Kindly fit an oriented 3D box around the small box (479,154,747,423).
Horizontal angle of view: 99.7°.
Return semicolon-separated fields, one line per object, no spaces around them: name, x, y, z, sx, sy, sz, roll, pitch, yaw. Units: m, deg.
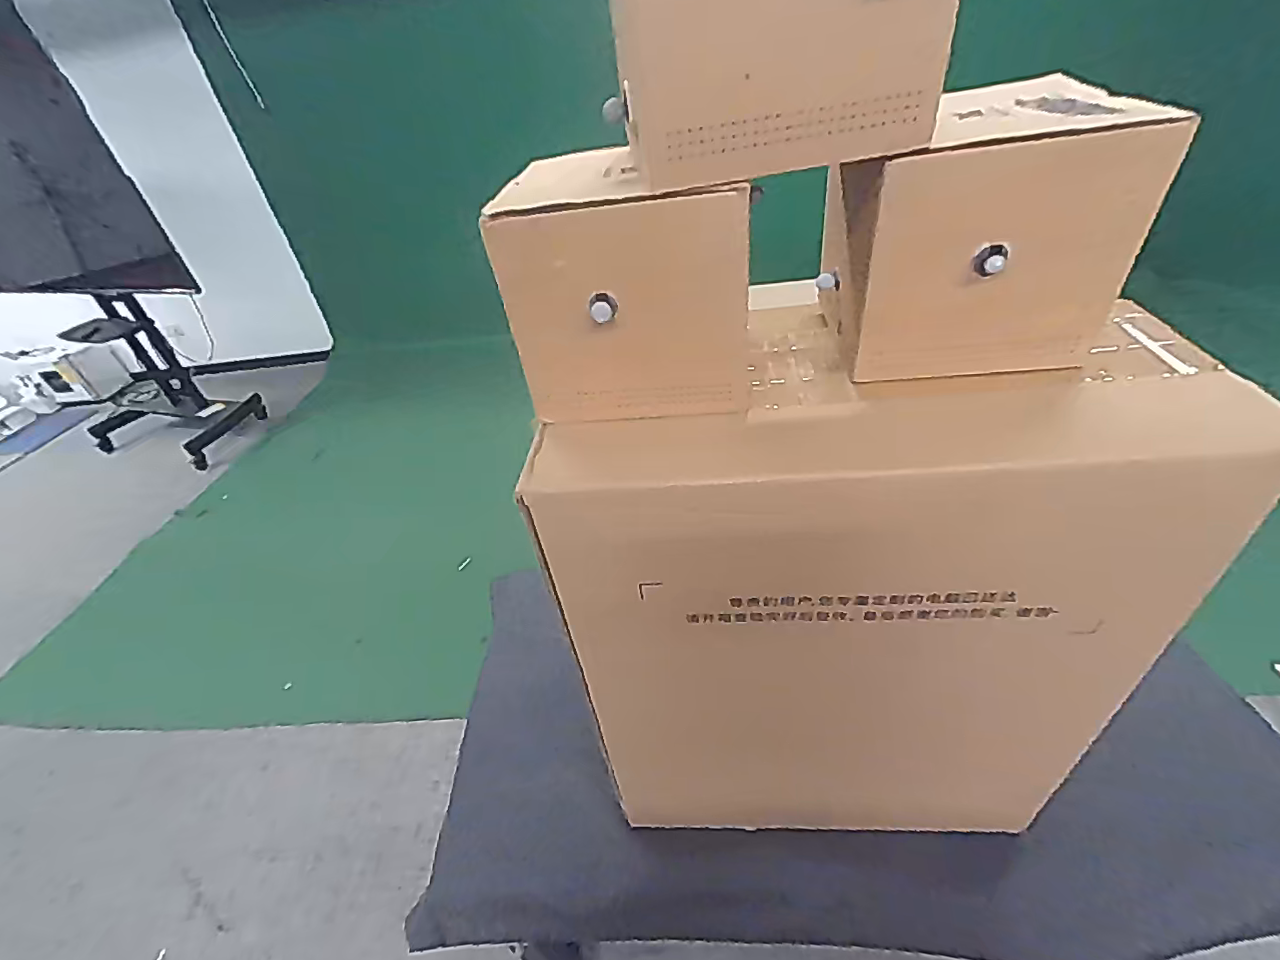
small box;-0.005;-0.161;0.453;0.179;0.176;0.168;-3;42;8

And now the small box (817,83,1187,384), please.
small box;0.251;-0.194;0.436;0.179;0.176;0.168;-3;42;9

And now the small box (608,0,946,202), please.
small box;0.072;-0.293;0.339;0.179;0.176;0.168;-11;40;1
